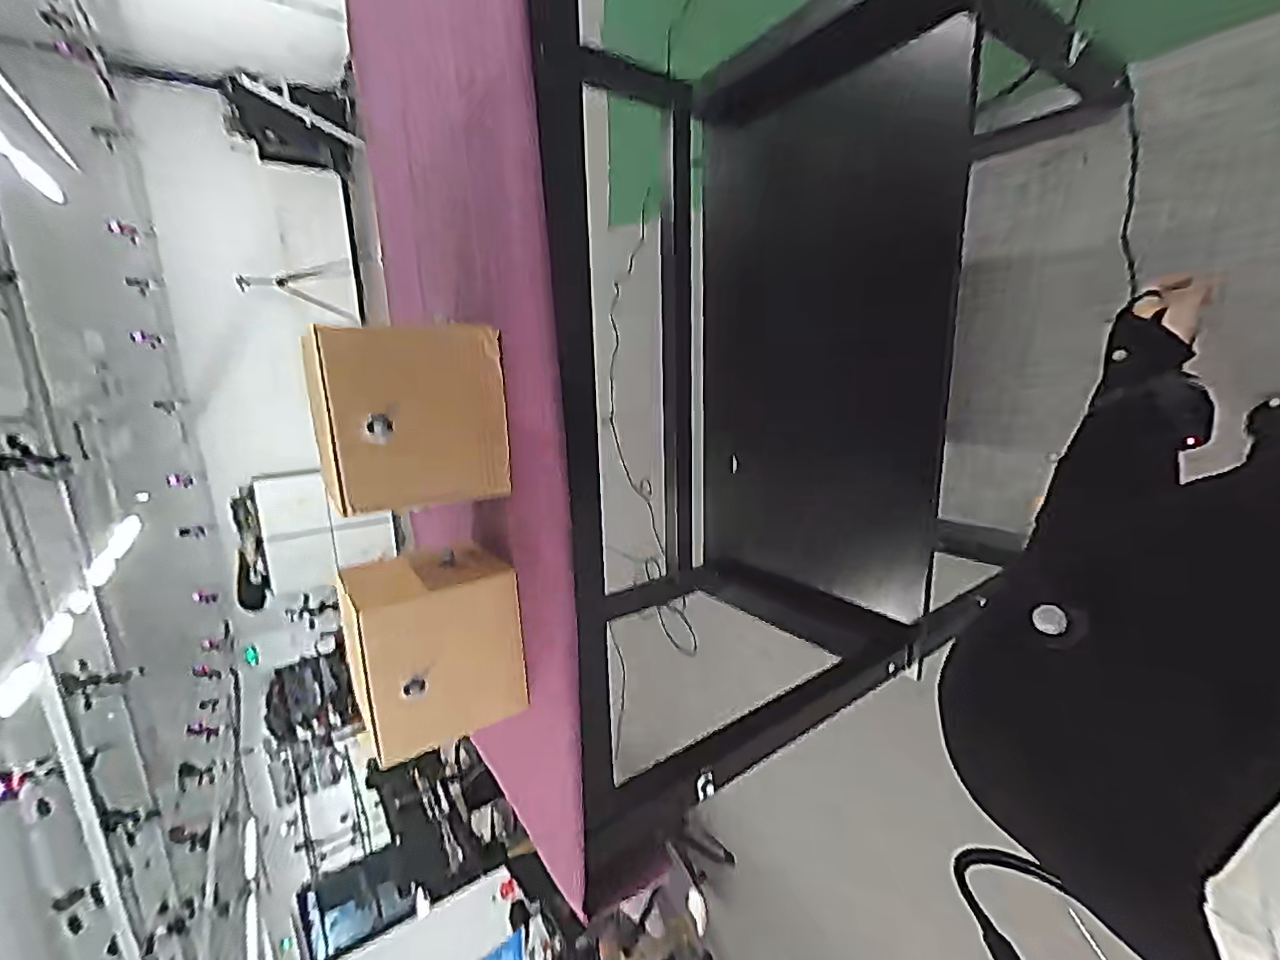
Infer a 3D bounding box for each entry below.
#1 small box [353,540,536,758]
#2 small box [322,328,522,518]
[{"bbox_3d":[-0.235,0.188,0.661,0.168,0.176,0.179,12,108,54],"label":"small box"},{"bbox_3d":[-0.238,-0.073,0.597,0.168,0.176,0.179,16,111,54],"label":"small box"}]
